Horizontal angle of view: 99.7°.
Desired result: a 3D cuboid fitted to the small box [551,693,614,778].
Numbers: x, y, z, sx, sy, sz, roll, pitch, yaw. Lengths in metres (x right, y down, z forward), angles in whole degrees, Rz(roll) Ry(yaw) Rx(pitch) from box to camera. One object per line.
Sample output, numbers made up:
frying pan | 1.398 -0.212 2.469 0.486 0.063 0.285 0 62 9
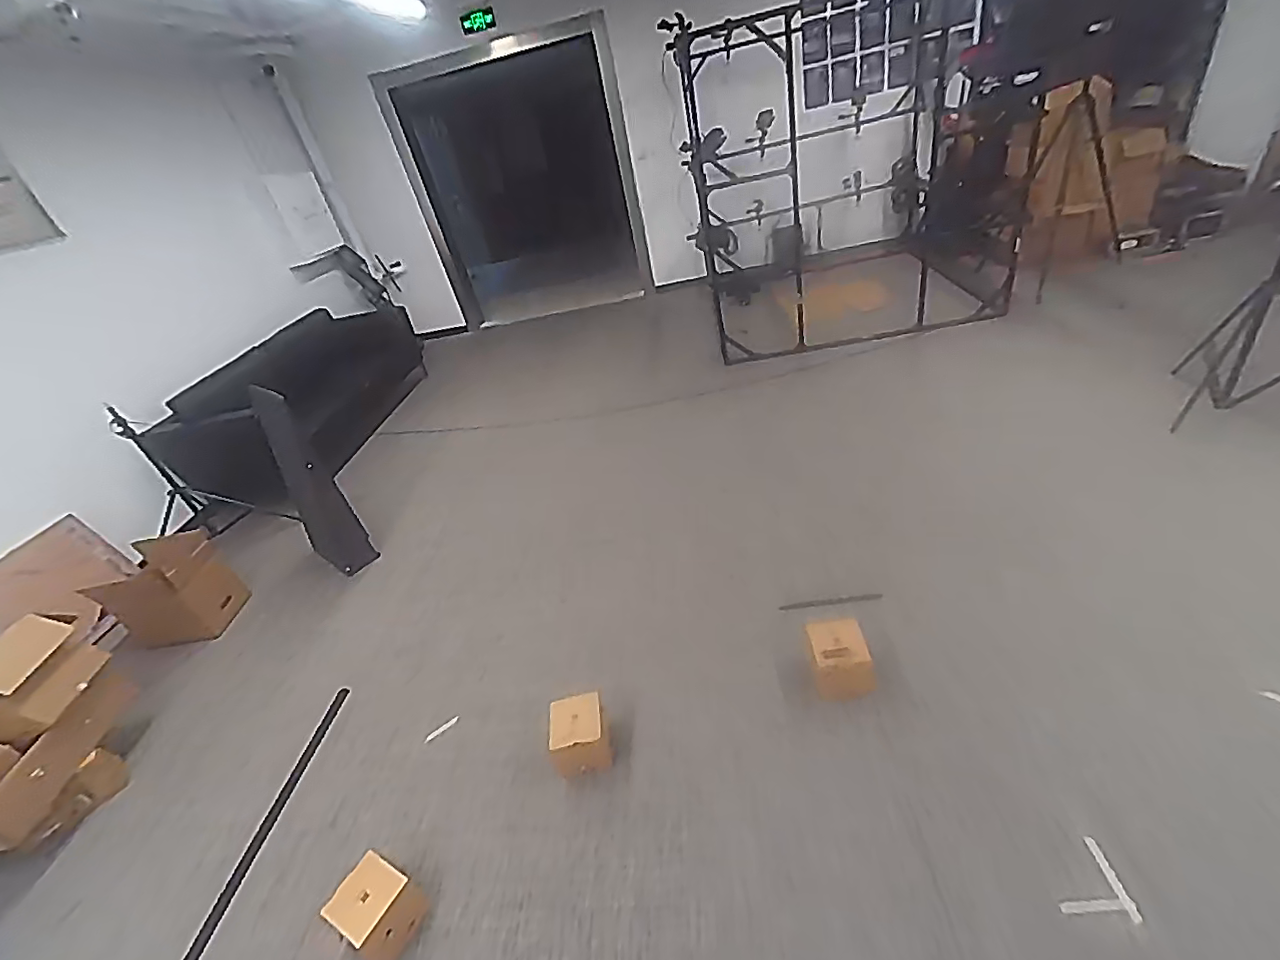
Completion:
small box | -0.187 0.836 1.770 0.168 0.176 0.179 -13 33 1

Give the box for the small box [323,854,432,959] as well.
small box | -0.702 1.170 1.466 0.179 0.176 0.168 7 39 31
